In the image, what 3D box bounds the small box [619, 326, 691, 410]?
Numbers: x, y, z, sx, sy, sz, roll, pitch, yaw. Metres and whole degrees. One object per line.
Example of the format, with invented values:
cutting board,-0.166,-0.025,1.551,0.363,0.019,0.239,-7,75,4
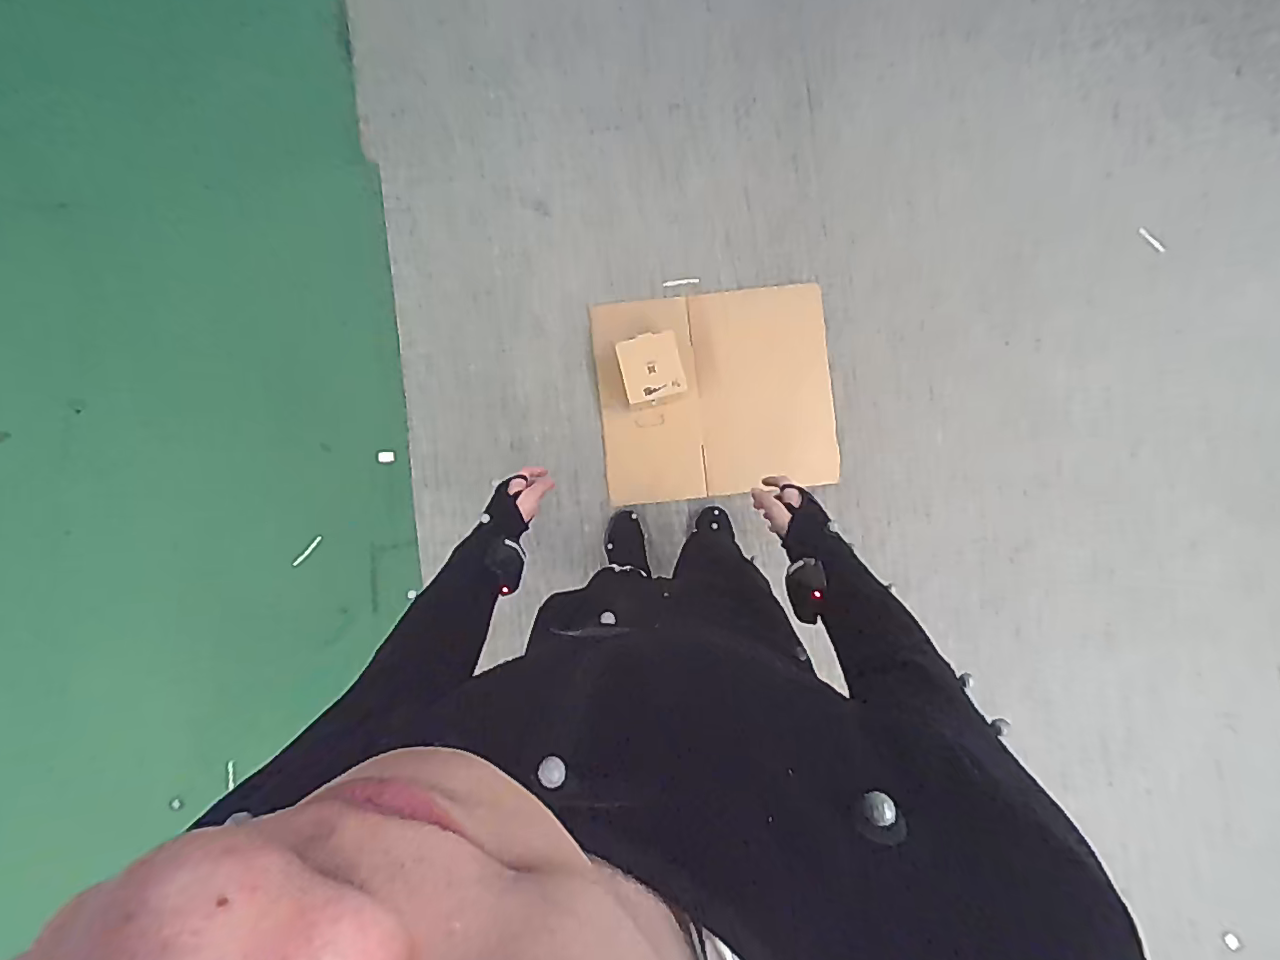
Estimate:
small box,0.039,-0.311,1.529,0.168,0.176,0.179,-13,89,1
